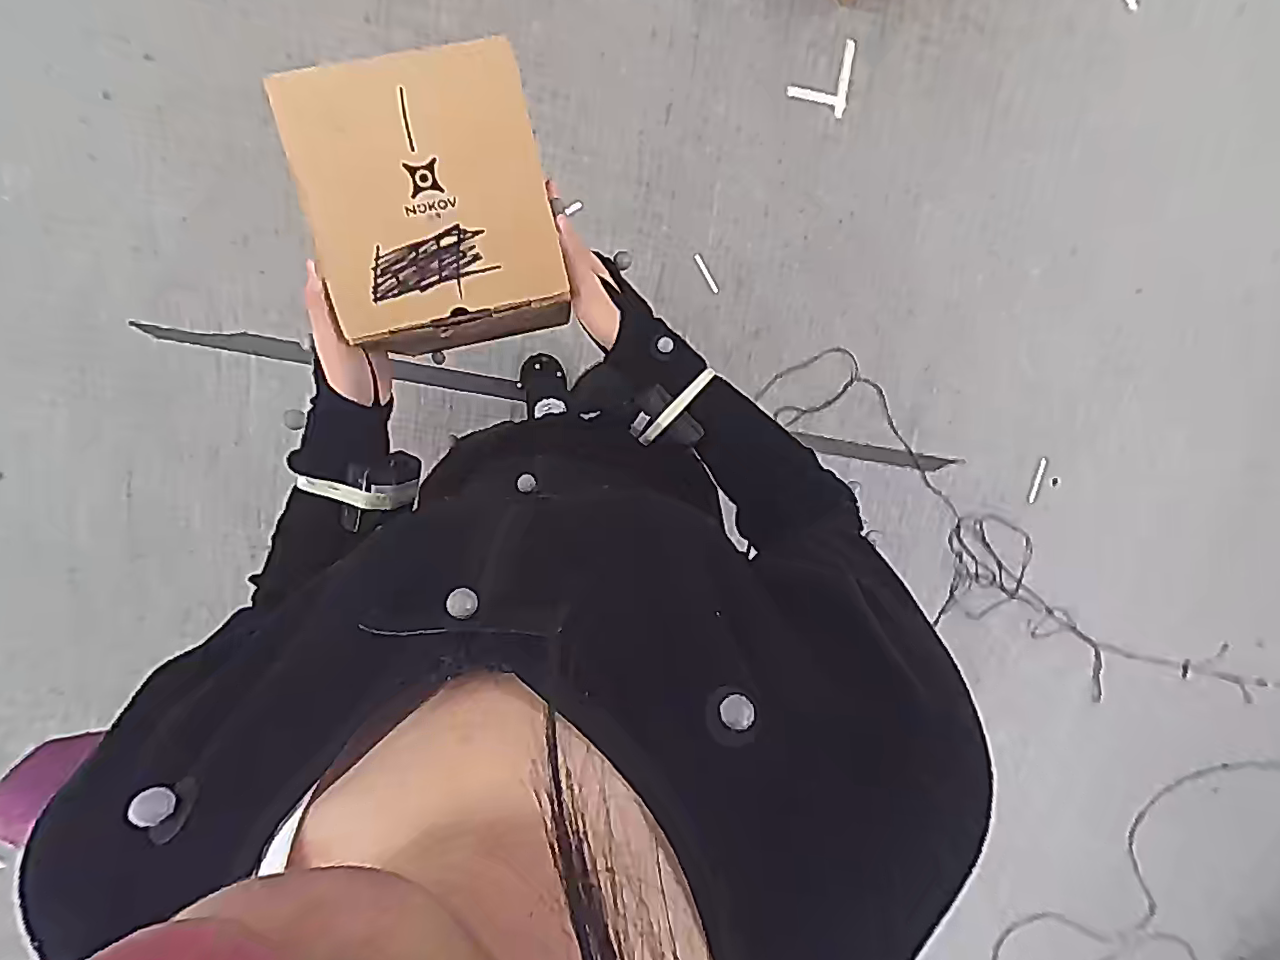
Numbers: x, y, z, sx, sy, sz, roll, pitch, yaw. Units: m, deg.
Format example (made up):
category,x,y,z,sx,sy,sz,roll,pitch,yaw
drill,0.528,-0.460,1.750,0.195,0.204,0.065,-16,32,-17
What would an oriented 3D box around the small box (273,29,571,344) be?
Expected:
category,x,y,z,sx,sy,sz,roll,pitch,yaw
small box,-0.154,-0.217,0.452,0.168,0.176,0.179,-13,99,-6
